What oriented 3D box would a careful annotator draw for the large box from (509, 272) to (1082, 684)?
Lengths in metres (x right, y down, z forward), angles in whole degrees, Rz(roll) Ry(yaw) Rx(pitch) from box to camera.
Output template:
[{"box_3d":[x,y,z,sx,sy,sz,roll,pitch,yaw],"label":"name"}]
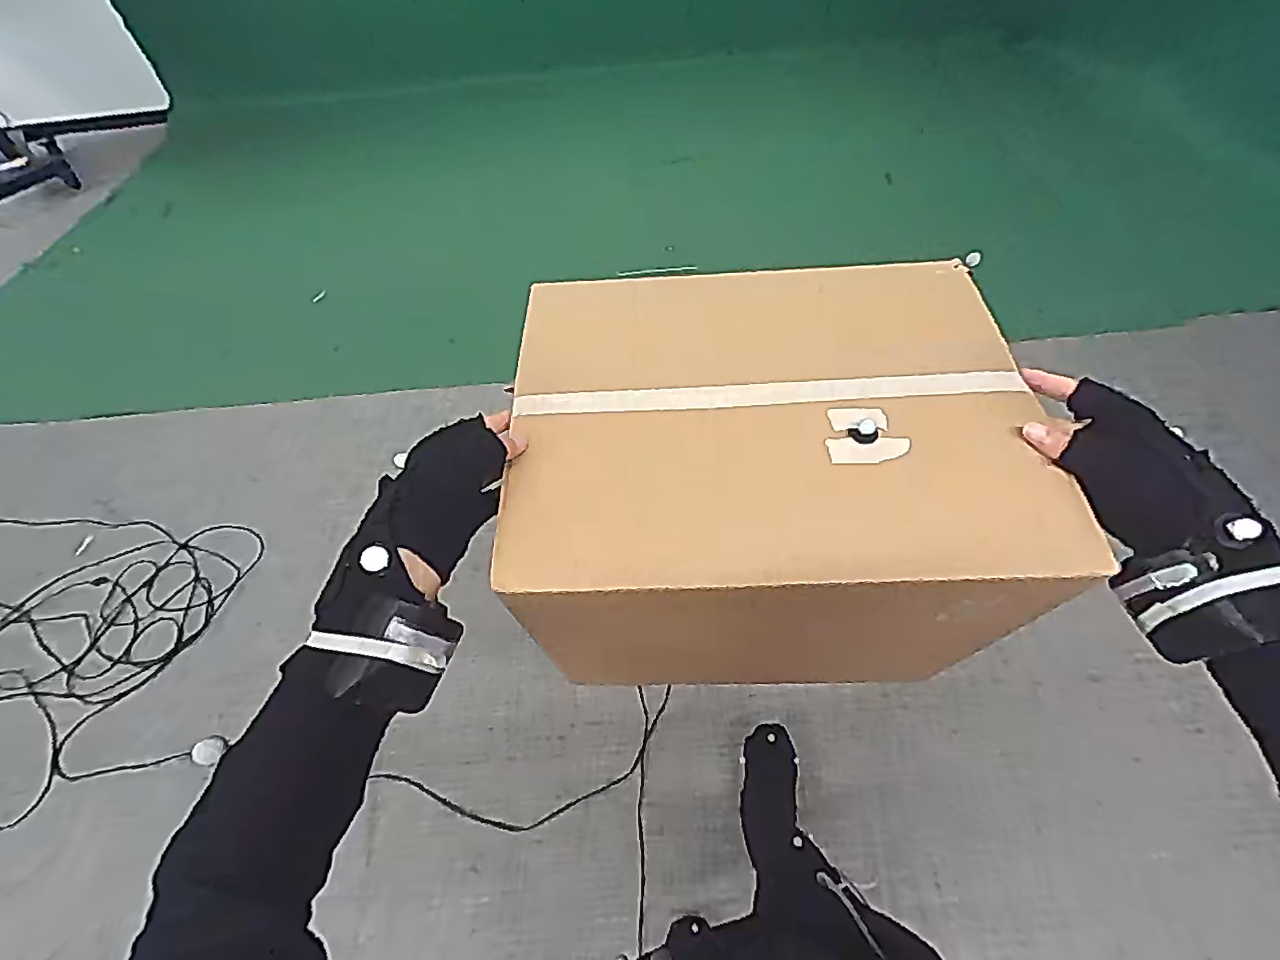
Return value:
[{"box_3d":[0.108,0.018,0.576,0.408,0.320,0.320,-3,59,3],"label":"large box"}]
